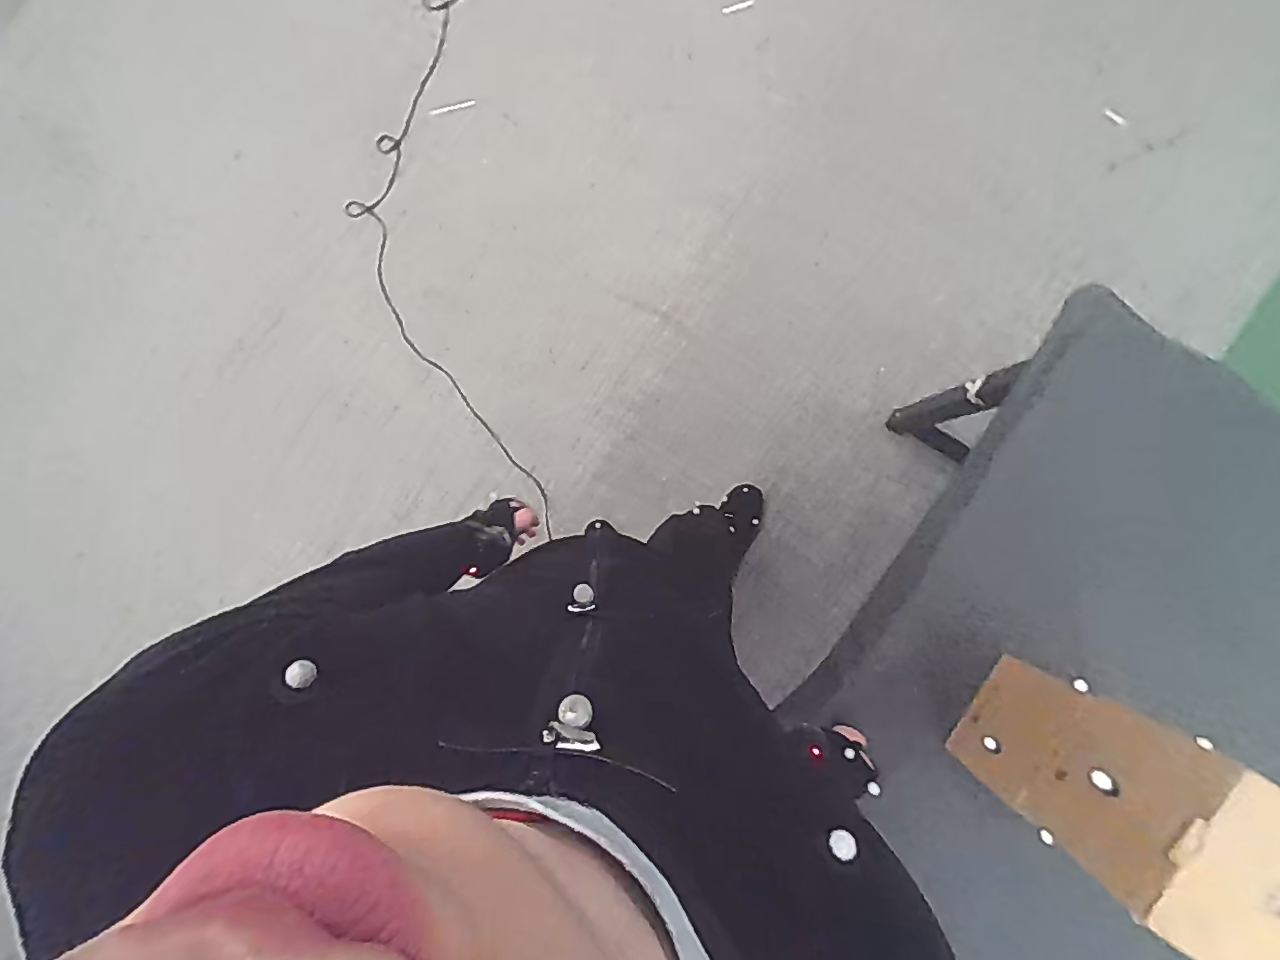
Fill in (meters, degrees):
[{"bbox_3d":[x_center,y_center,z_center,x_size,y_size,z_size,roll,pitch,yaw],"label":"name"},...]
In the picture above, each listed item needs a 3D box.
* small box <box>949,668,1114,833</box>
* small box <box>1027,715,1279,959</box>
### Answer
[{"bbox_3d":[0.554,0.372,0.709,0.179,0.176,0.168,33,91,2],"label":"small box"},{"bbox_3d":[0.551,0.368,0.545,0.179,0.176,0.168,35,92,5],"label":"small box"}]
